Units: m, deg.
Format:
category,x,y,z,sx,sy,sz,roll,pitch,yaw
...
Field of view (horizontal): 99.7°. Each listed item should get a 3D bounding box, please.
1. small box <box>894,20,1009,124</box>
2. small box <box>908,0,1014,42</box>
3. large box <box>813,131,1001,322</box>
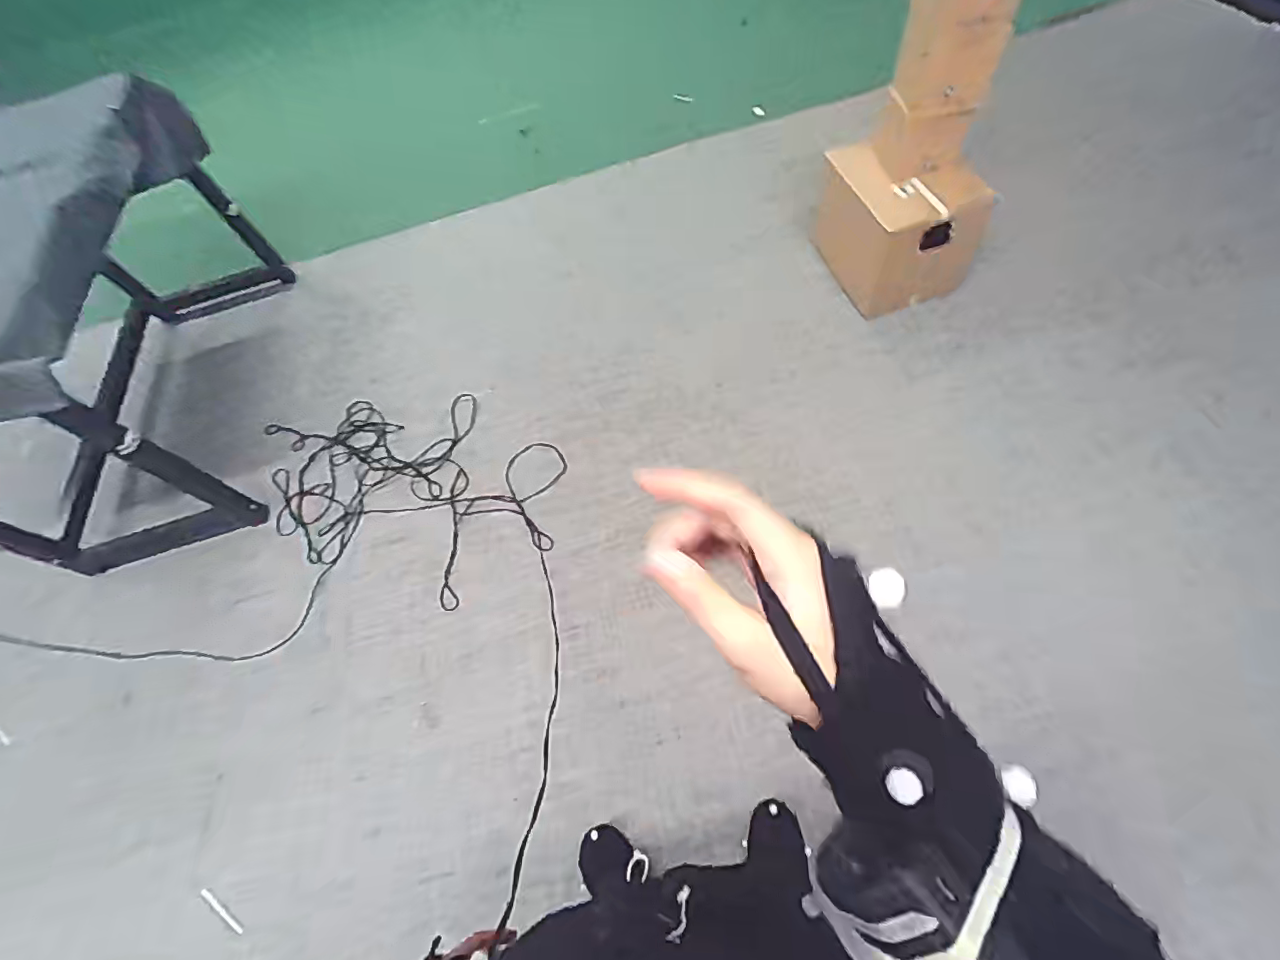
category,x,y,z,sx,sy,sz,roll,pitch,yaw
small box,0.739,-1.004,1.308,0.168,0.176,0.179,-7,61,5
small box,0.708,-1.082,1.168,0.168,0.176,0.179,-6,61,5
large box,0.768,-0.762,1.638,0.320,0.320,0.408,-18,61,1
